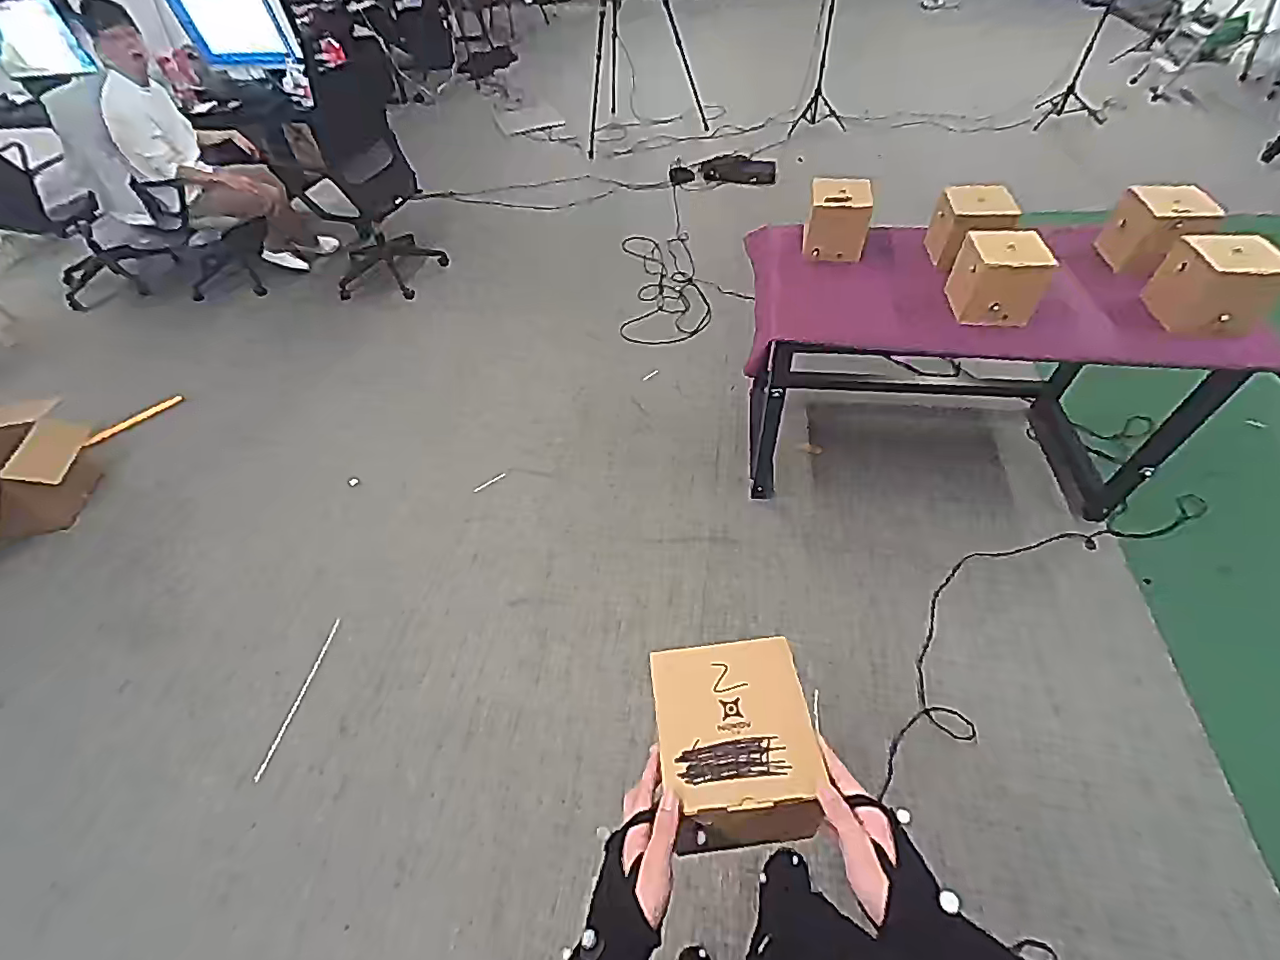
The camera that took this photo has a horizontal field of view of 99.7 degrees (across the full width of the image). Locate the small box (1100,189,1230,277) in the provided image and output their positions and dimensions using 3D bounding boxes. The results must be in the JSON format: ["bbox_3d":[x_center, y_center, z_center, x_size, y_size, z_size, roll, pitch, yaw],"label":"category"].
[{"bbox_3d":[1.421,-0.676,1.482,0.168,0.176,0.179,3,50,9],"label":"small box"}]

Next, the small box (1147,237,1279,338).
[{"bbox_3d":[1.392,-0.465,1.305,0.168,0.176,0.179,4,50,11],"label":"small box"}]

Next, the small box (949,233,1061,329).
[{"bbox_3d":[0.925,-0.513,1.392,0.168,0.176,0.179,4,51,8],"label":"small box"}]

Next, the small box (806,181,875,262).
[{"bbox_3d":[0.600,-0.778,1.633,0.168,0.176,0.179,7,52,9],"label":"small box"}]

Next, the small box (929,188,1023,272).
[{"bbox_3d":[0.957,-0.720,1.561,0.168,0.176,0.179,4,52,9],"label":"small box"}]
